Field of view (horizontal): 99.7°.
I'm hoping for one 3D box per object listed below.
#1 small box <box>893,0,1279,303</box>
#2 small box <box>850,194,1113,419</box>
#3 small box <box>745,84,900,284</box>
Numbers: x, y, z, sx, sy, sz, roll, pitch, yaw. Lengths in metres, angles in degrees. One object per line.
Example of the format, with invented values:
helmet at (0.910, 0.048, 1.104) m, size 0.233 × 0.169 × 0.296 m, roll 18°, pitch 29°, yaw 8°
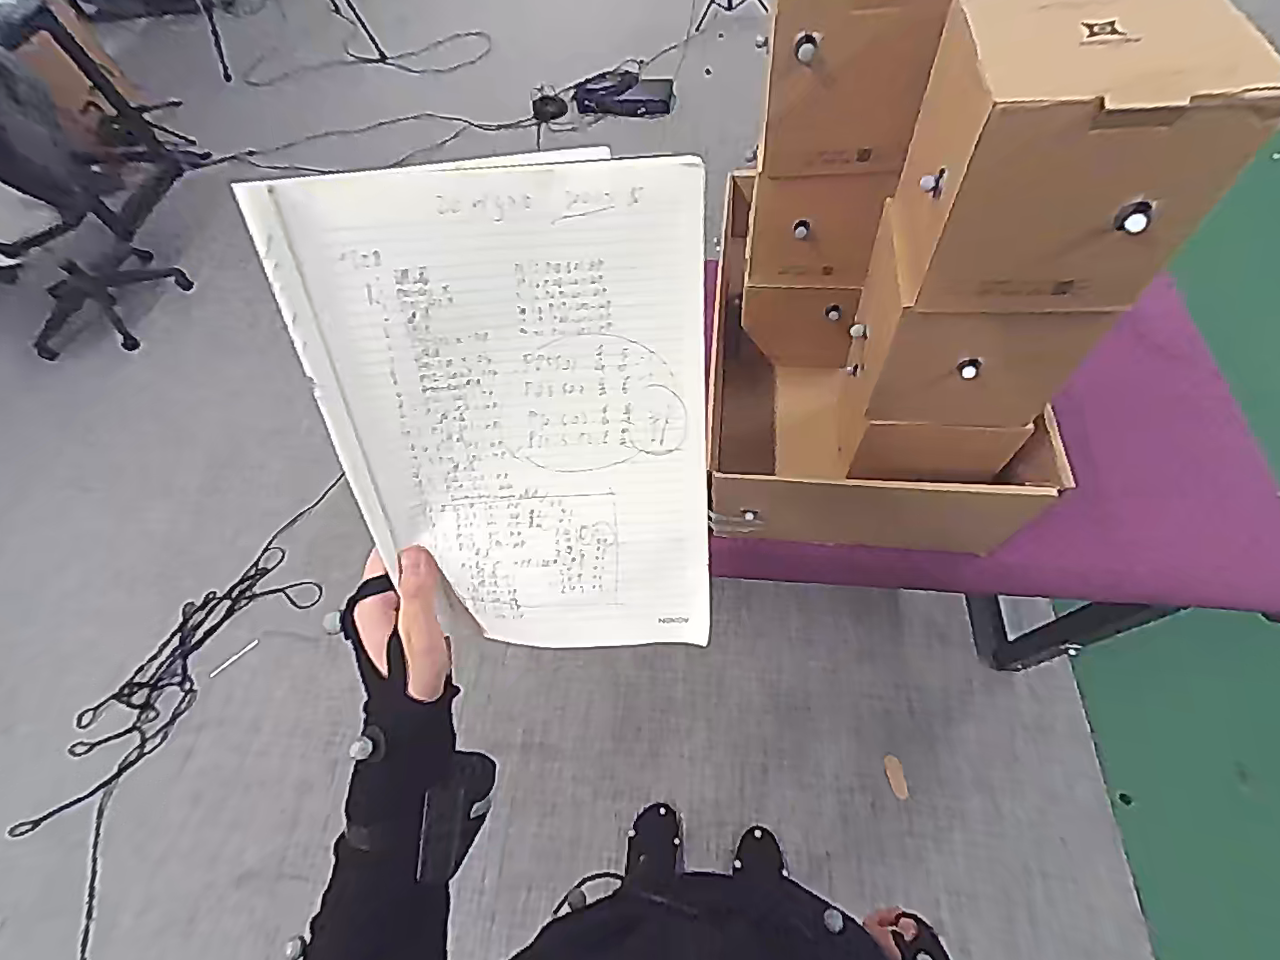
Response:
small box at (0.315, -0.261, 0.434) m, size 0.168 × 0.176 × 0.179 m, roll 4°, pitch 59°, yaw 11°
small box at (0.334, -0.179, 0.573) m, size 0.179 × 0.176 × 0.168 m, roll 3°, pitch 59°, yaw 11°
small box at (0.228, -0.378, 0.710) m, size 0.168 × 0.176 × 0.179 m, roll 4°, pitch 62°, yaw 9°
